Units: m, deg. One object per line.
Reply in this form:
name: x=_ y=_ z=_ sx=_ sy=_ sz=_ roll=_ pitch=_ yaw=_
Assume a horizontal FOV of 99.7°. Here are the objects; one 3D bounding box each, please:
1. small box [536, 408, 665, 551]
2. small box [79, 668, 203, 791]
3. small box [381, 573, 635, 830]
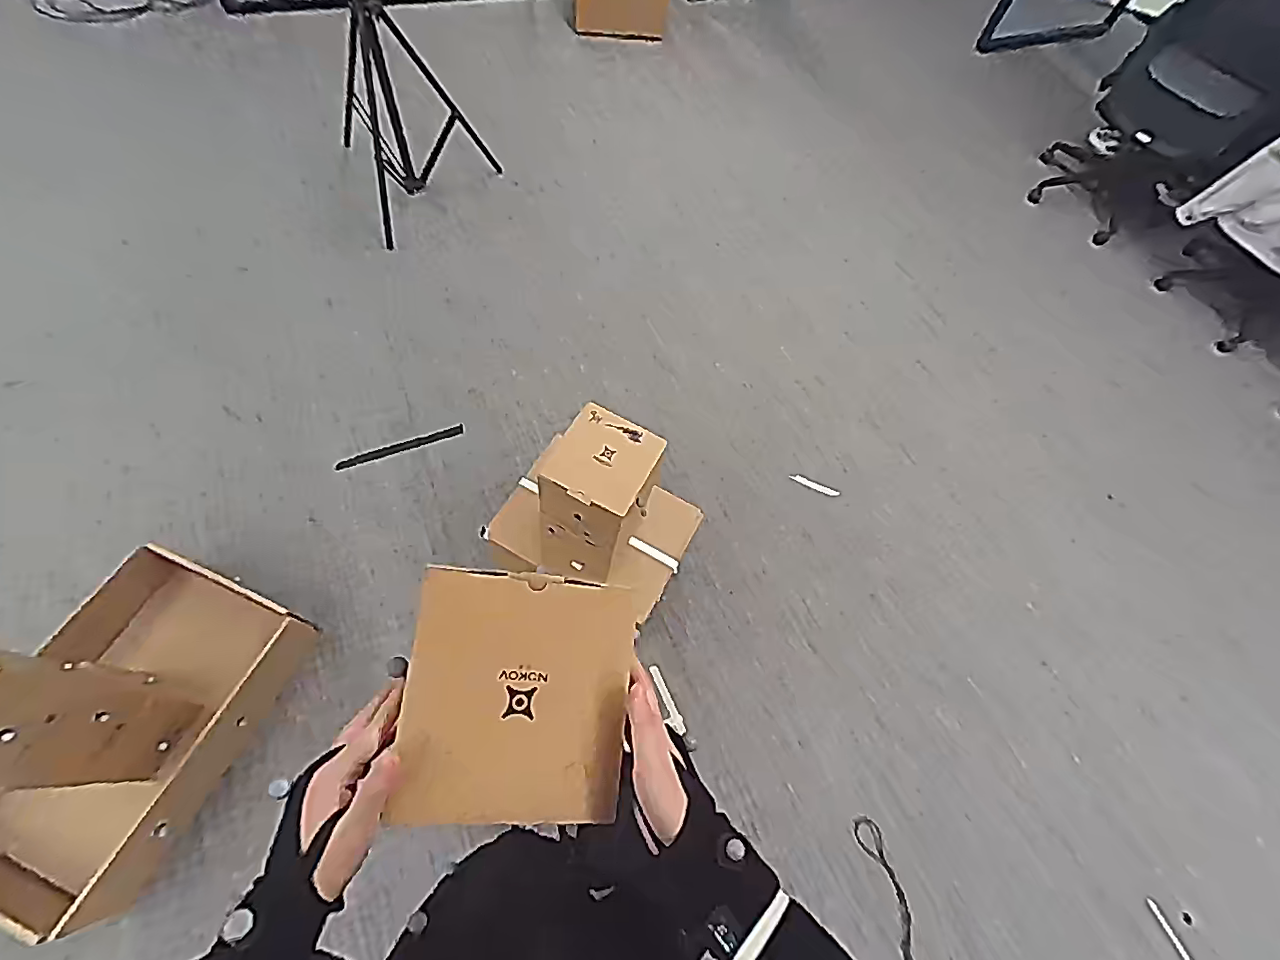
small box: x=-0.073 y=0.007 z=1.000 sx=0.168 sy=0.176 sz=0.179 roll=28 pitch=64 yaw=6
small box: x=-1.063 y=0.508 z=1.100 sx=0.179 sy=0.176 sz=0.168 roll=24 pitch=63 yaw=4
small box: x=-0.112 y=0.179 z=0.480 sx=0.168 sy=0.176 sz=0.179 roll=9 pitch=77 yaw=-15
